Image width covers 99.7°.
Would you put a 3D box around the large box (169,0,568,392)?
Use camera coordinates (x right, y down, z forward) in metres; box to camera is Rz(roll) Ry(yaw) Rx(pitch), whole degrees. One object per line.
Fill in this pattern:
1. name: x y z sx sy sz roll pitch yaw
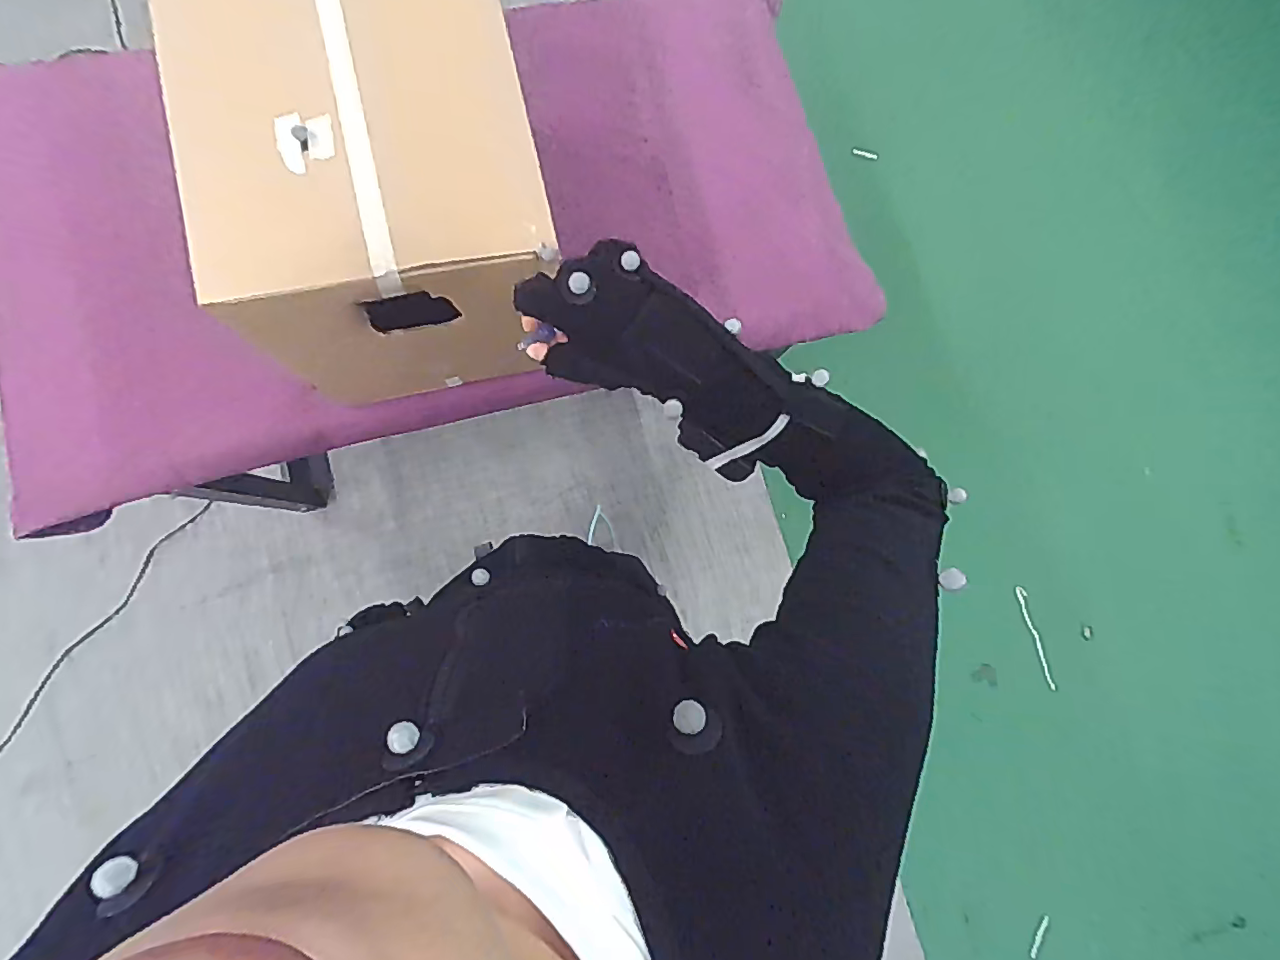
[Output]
1. large box: -0.287 -0.363 0.663 0.320 0.320 0.408 -12 85 -9
